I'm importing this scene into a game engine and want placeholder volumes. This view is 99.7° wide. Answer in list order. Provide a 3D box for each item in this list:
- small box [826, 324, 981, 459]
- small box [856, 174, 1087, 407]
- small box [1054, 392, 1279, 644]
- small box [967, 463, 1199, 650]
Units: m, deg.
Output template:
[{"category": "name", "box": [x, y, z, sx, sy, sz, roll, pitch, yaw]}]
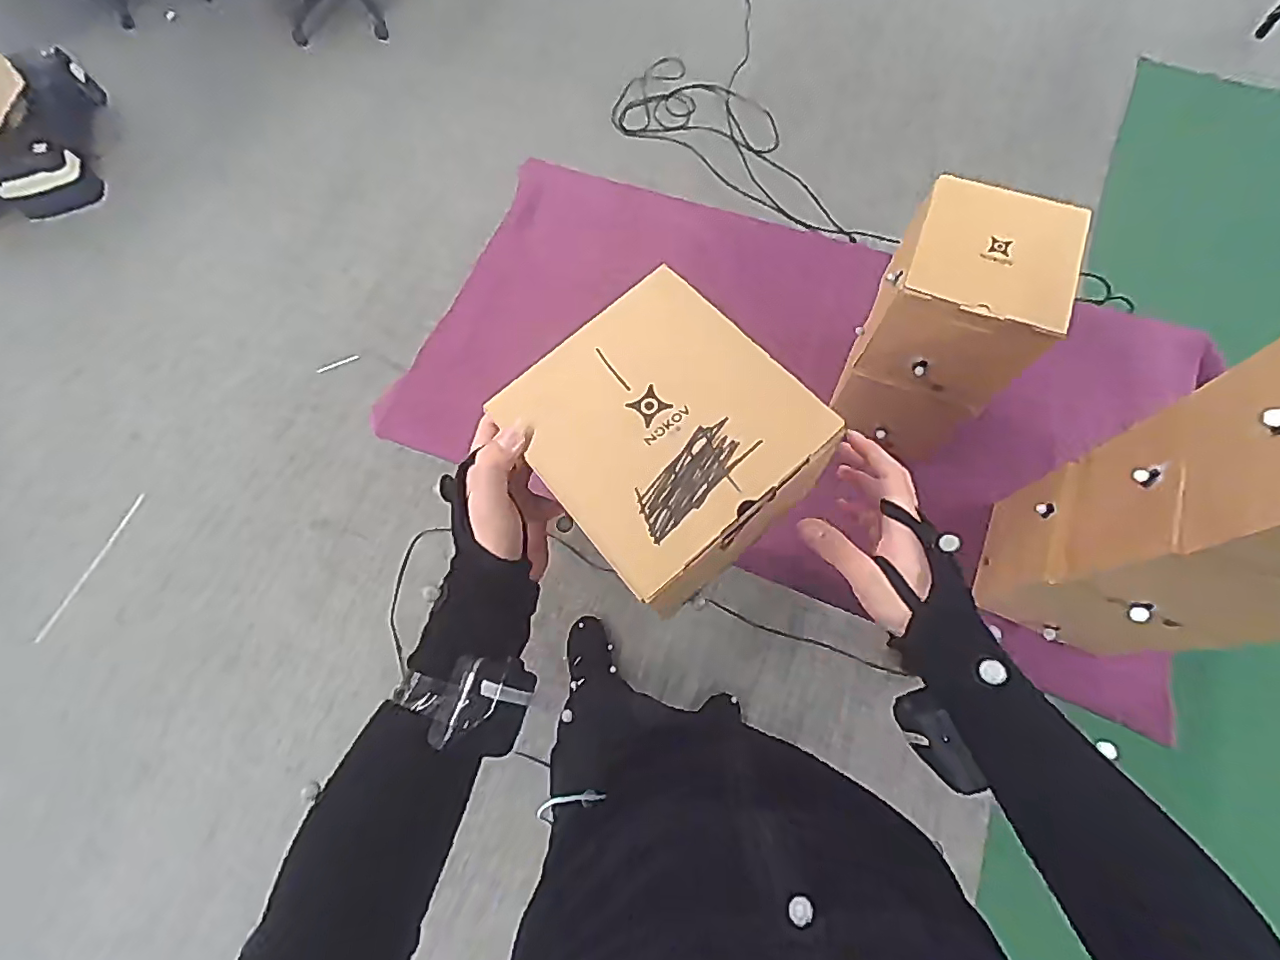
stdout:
[{"category": "small box", "box": [0.399, -0.161, 0.808, 0.168, 0.176, 0.179, 24, 73, 11]}, {"category": "small box", "box": [0.386, -0.220, 0.657, 0.168, 0.176, 0.179, 22, 74, 9]}, {"category": "small box", "box": [0.568, 0.048, 0.549, 0.168, 0.176, 0.179, 23, 72, 13]}, {"category": "small box", "box": [0.572, 0.108, 0.702, 0.179, 0.176, 0.168, 24, 72, 12]}]
